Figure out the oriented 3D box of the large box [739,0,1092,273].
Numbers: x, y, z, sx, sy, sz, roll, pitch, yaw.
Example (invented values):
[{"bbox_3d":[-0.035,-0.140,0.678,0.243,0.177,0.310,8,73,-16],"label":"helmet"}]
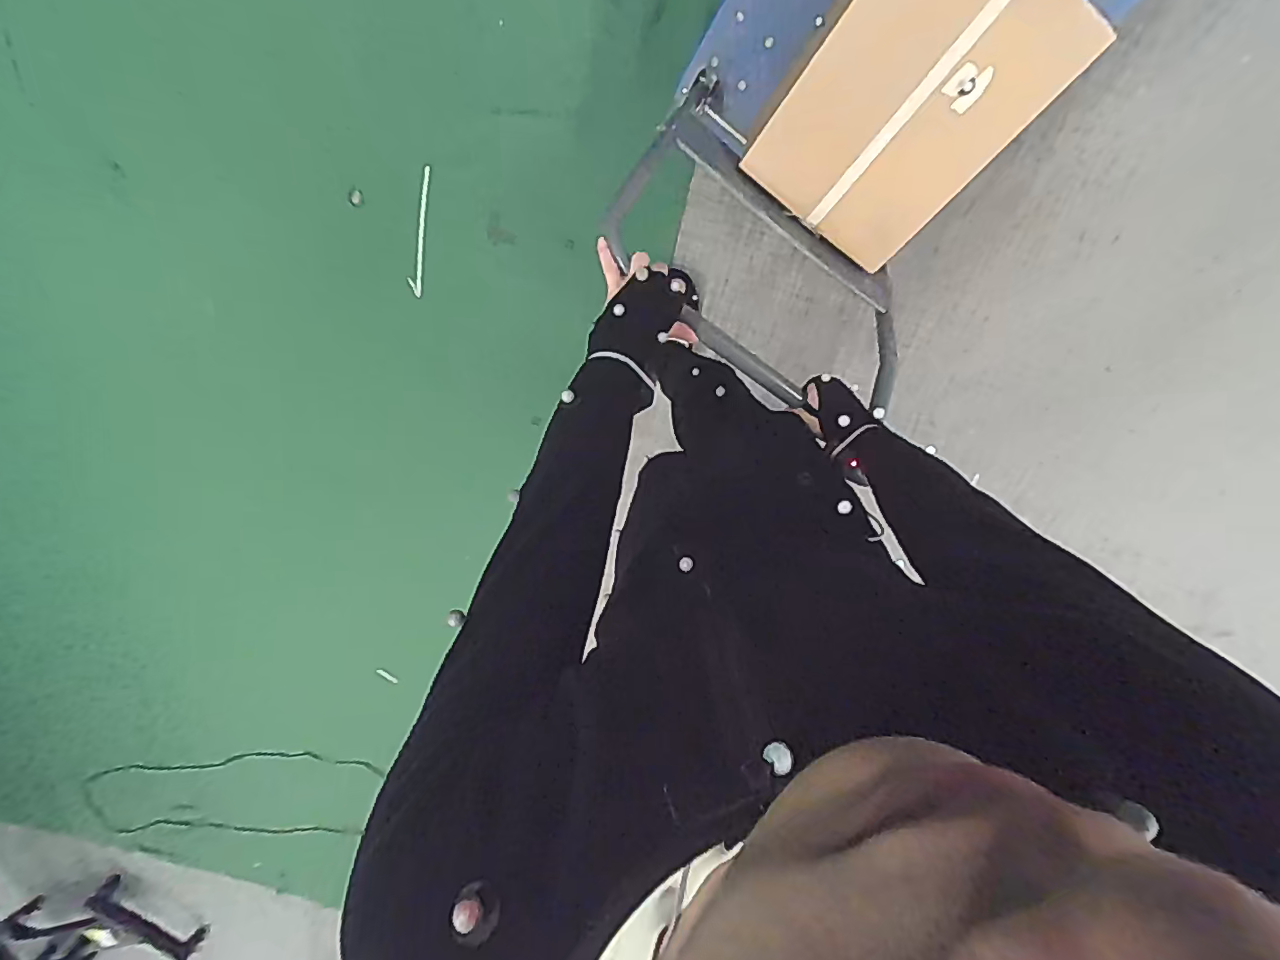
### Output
[{"bbox_3d":[0.426,-0.661,0.938,0.320,0.320,0.408,32,133,-13],"label":"large box"}]
